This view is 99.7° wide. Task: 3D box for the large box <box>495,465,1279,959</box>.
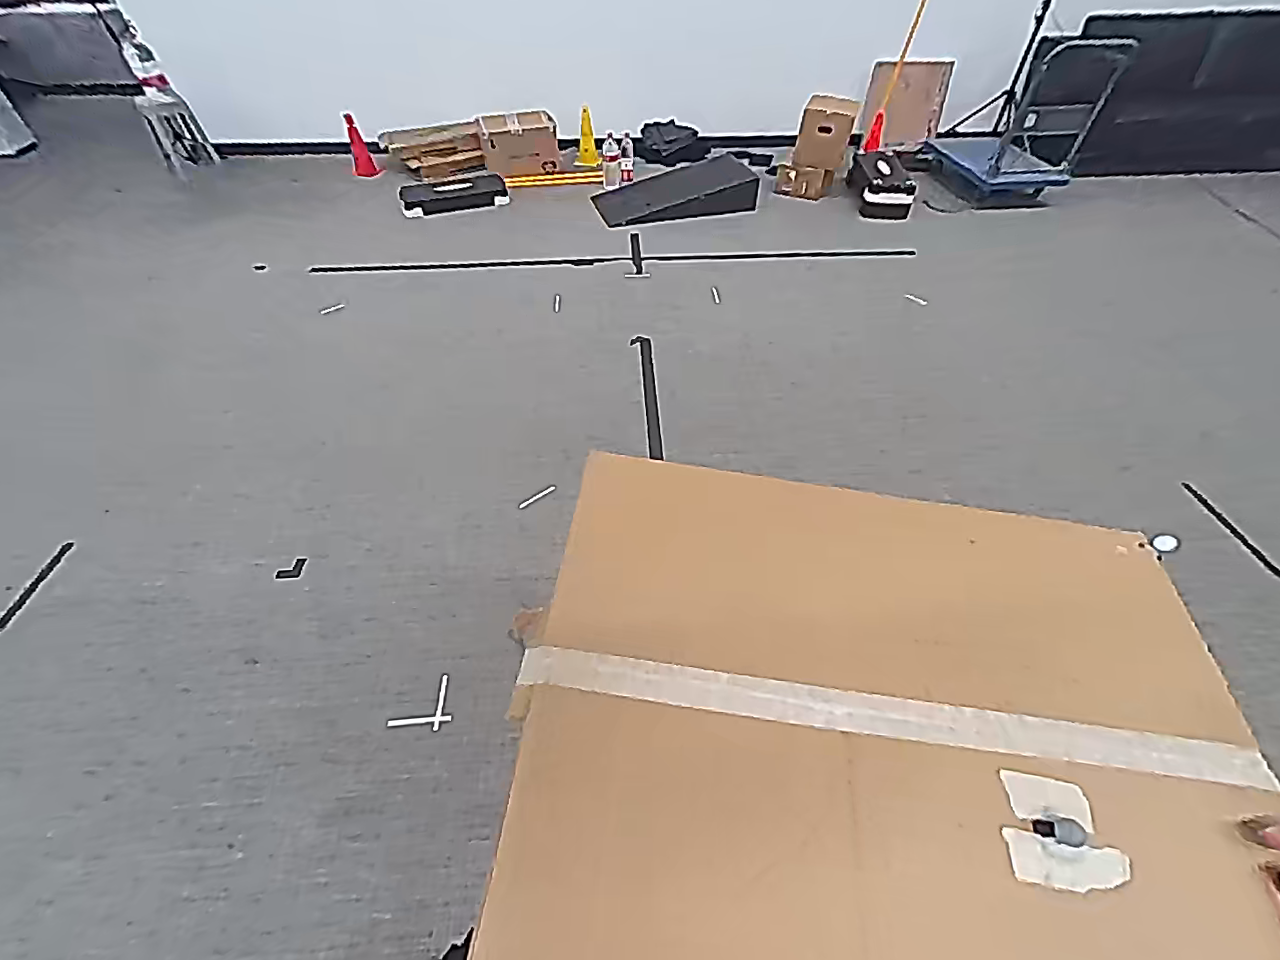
[{"bbox_3d":[0.129,0.224,0.426,0.408,0.320,0.320,9,53,-1],"label":"large box"}]
